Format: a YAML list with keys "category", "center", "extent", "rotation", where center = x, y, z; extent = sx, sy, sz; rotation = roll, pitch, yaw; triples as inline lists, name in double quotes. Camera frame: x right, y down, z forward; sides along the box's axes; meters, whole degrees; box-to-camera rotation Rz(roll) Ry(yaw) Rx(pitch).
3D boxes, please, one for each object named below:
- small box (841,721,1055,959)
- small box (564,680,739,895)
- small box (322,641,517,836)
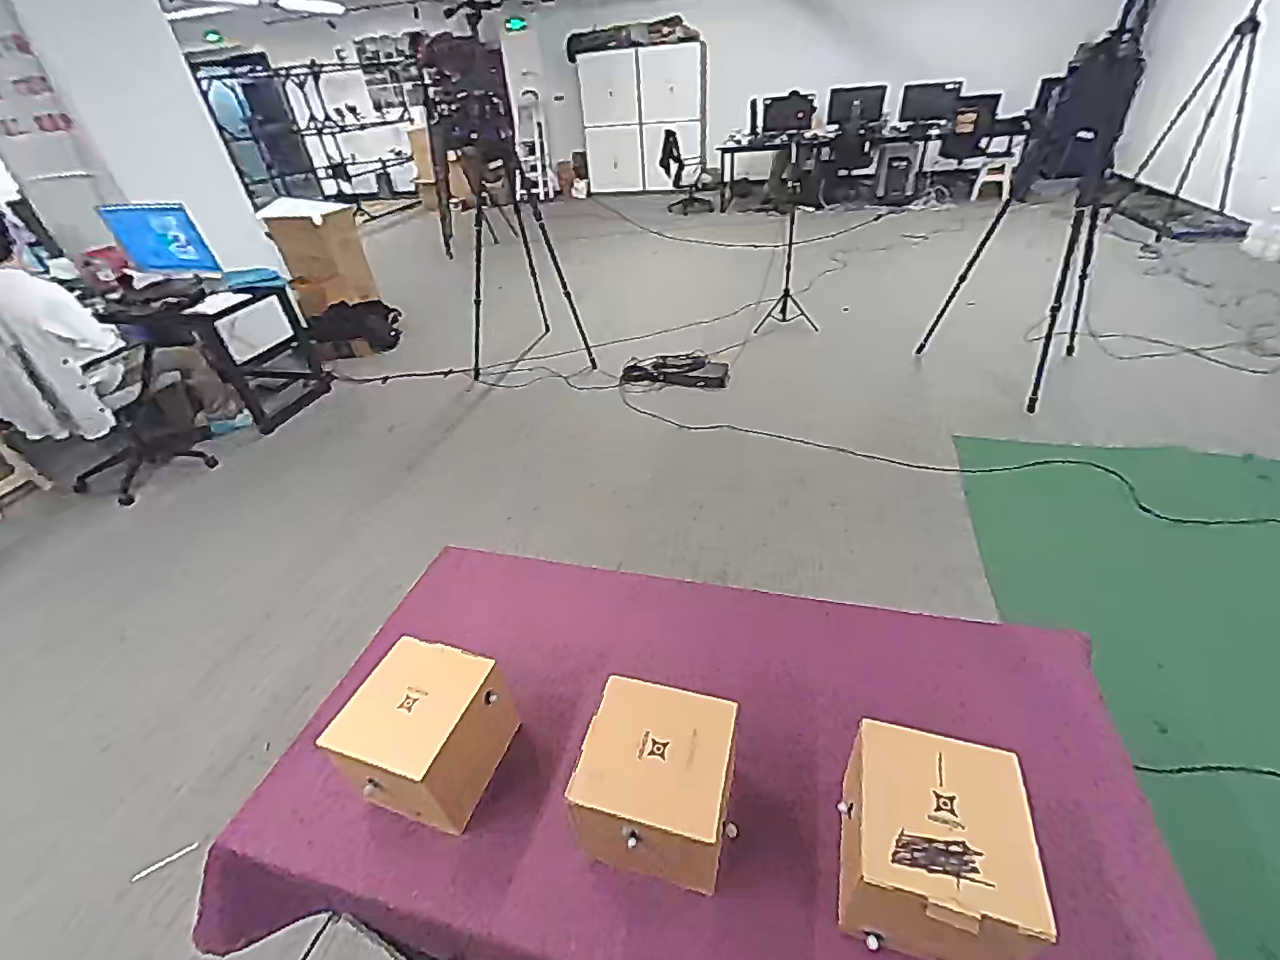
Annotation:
- category: "small box"
  center: [0.326, 0.415, 0.612]
  extent: [0.168, 0.176, 0.179]
  rotation: [7, 37, 17]
- category: "small box"
  center: [0.026, 0.391, 0.694]
  extent: [0.179, 0.176, 0.168]
  rotation: [7, 38, 17]
- category: "small box"
  center: [-0.298, 0.368, 0.775]
  extent: [0.168, 0.176, 0.179]
  rotation: [7, 37, 18]
